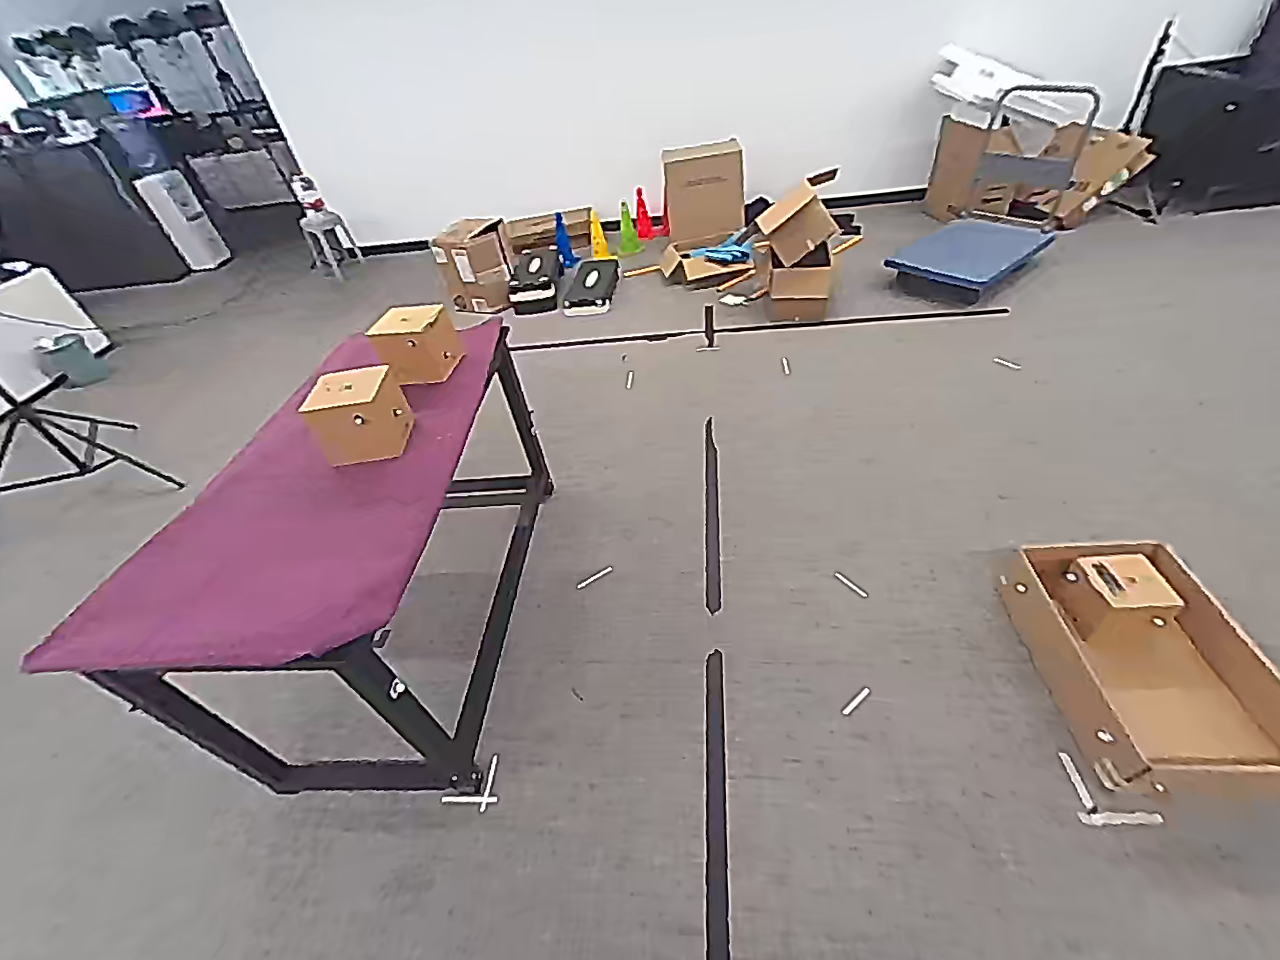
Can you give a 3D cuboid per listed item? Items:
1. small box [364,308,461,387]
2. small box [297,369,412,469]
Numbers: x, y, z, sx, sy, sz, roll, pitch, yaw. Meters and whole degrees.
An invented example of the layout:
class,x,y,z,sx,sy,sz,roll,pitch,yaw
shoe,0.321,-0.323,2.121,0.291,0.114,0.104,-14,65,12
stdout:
class,x,y,z,sx,sy,sz,roll,pitch,yaw
small box,-0.658,-0.385,1.589,0.179,0.176,0.168,-1,43,11
small box,-0.691,-0.149,1.338,0.179,0.176,0.168,-9,42,1
